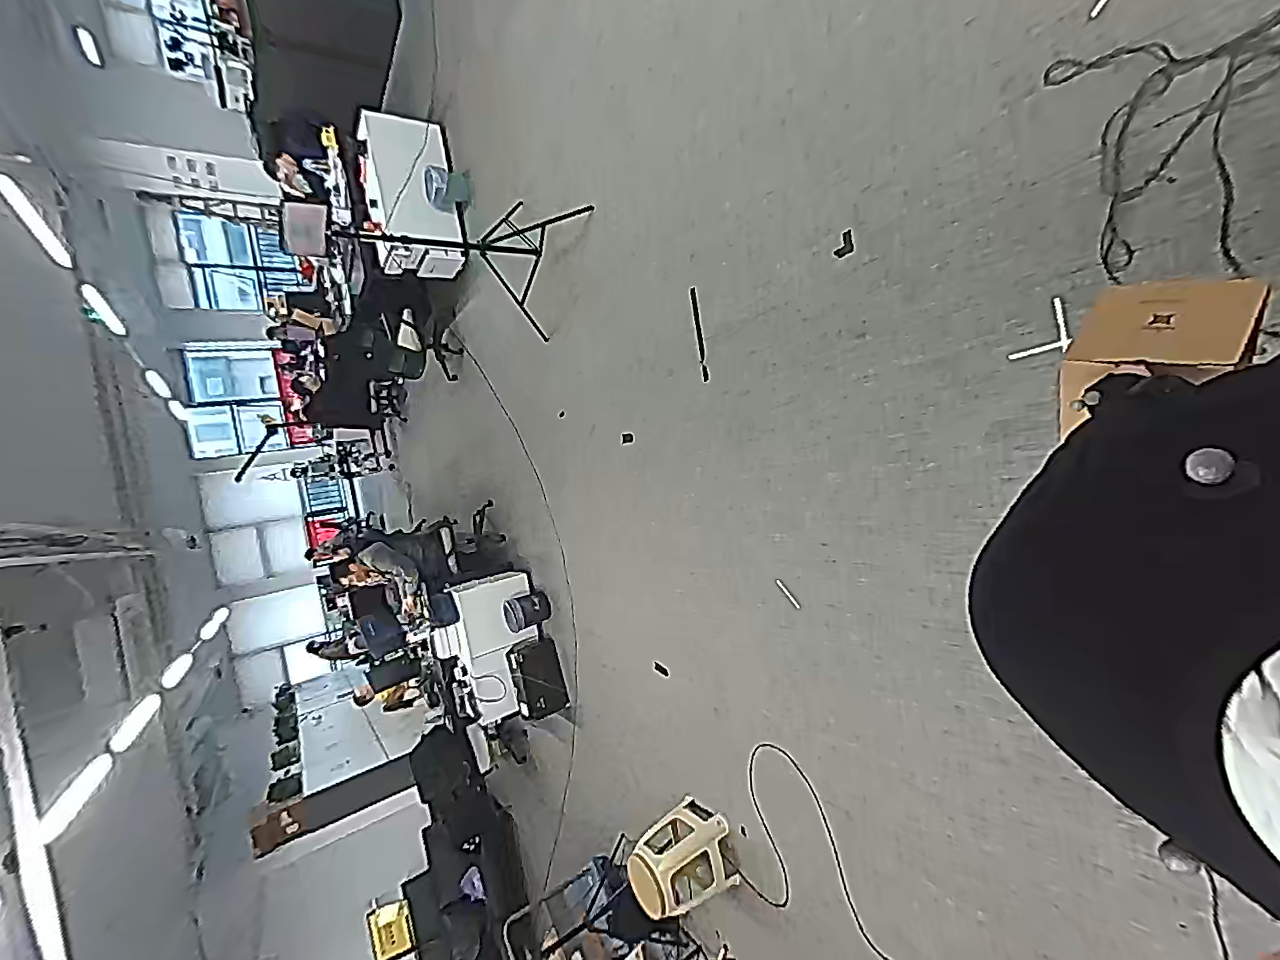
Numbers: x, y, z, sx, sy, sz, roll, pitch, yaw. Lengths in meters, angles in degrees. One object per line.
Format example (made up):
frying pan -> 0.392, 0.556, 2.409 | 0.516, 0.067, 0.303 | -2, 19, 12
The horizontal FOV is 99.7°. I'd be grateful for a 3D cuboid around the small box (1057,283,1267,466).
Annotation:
small box -> 0.703, -0.143, 0.742 | 0.168, 0.179, 0.176 | 19, 150, 47
